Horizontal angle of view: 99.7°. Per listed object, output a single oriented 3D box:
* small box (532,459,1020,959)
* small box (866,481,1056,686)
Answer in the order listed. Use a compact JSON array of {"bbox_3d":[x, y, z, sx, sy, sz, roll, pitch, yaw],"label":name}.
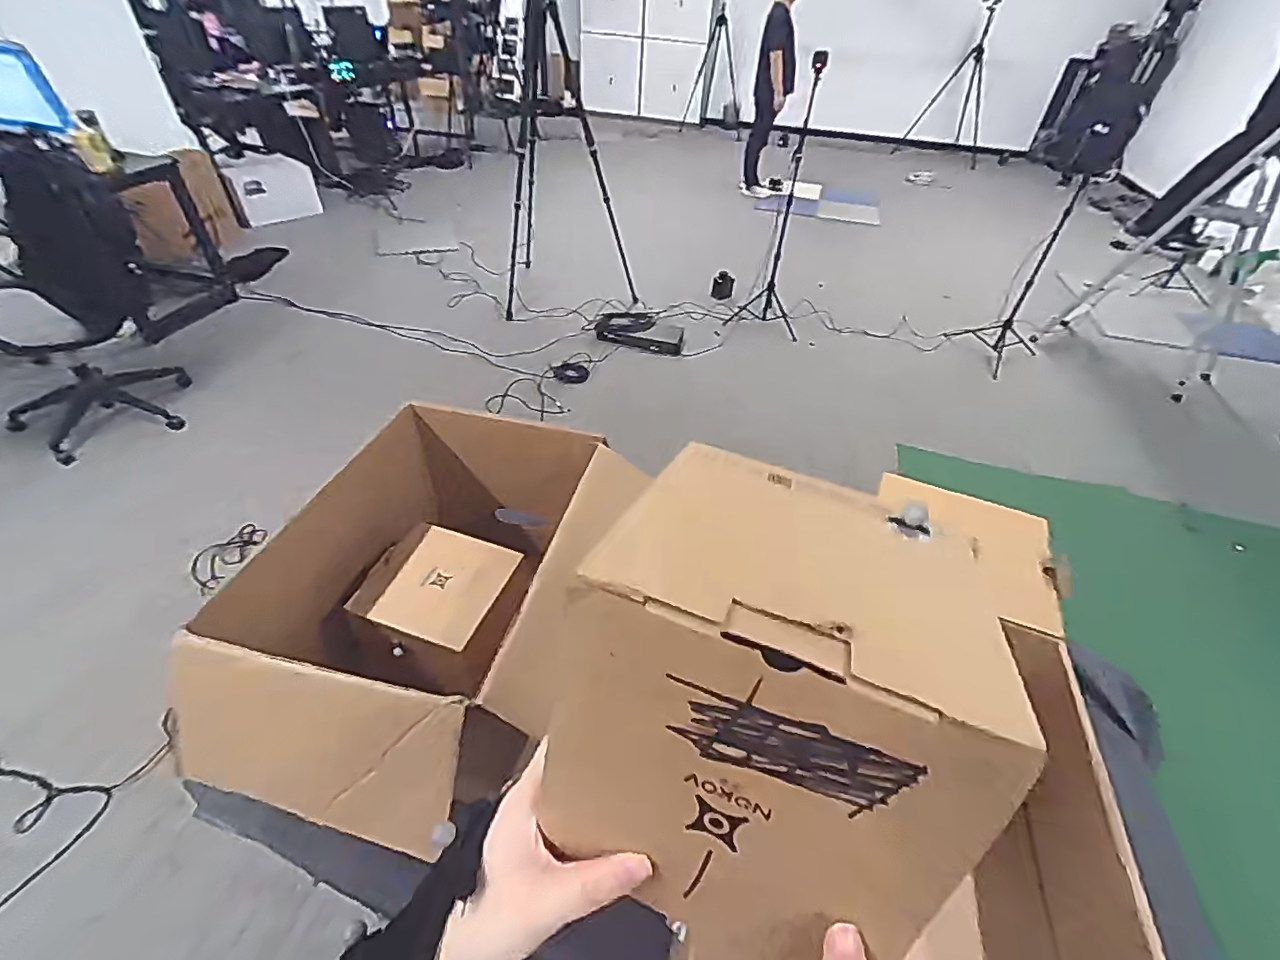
[{"bbox_3d":[0.061,0.108,0.298,0.168,0.179,0.176,19,28,14],"label":"small box"},{"bbox_3d":[0.328,0.135,0.622,0.179,0.176,0.168,19,46,15],"label":"small box"}]
